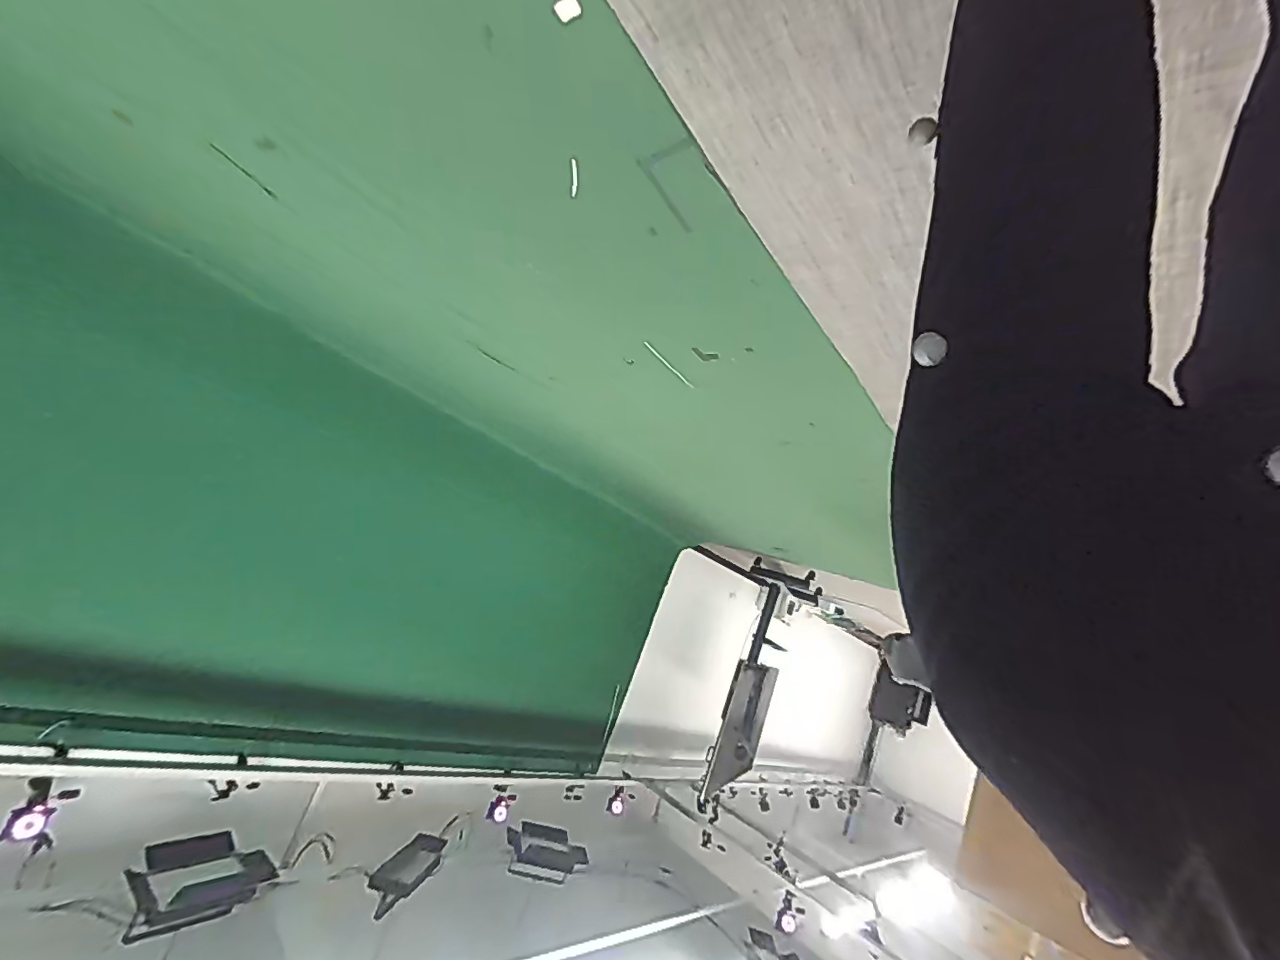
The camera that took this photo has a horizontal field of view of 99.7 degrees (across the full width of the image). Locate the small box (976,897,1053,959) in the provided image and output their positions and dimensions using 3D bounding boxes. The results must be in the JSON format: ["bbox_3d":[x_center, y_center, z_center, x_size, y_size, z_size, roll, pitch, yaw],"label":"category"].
[{"bbox_3d":[1.320,1.609,1.903,0.179,0.176,0.168,33,165,-33],"label":"small box"}]
